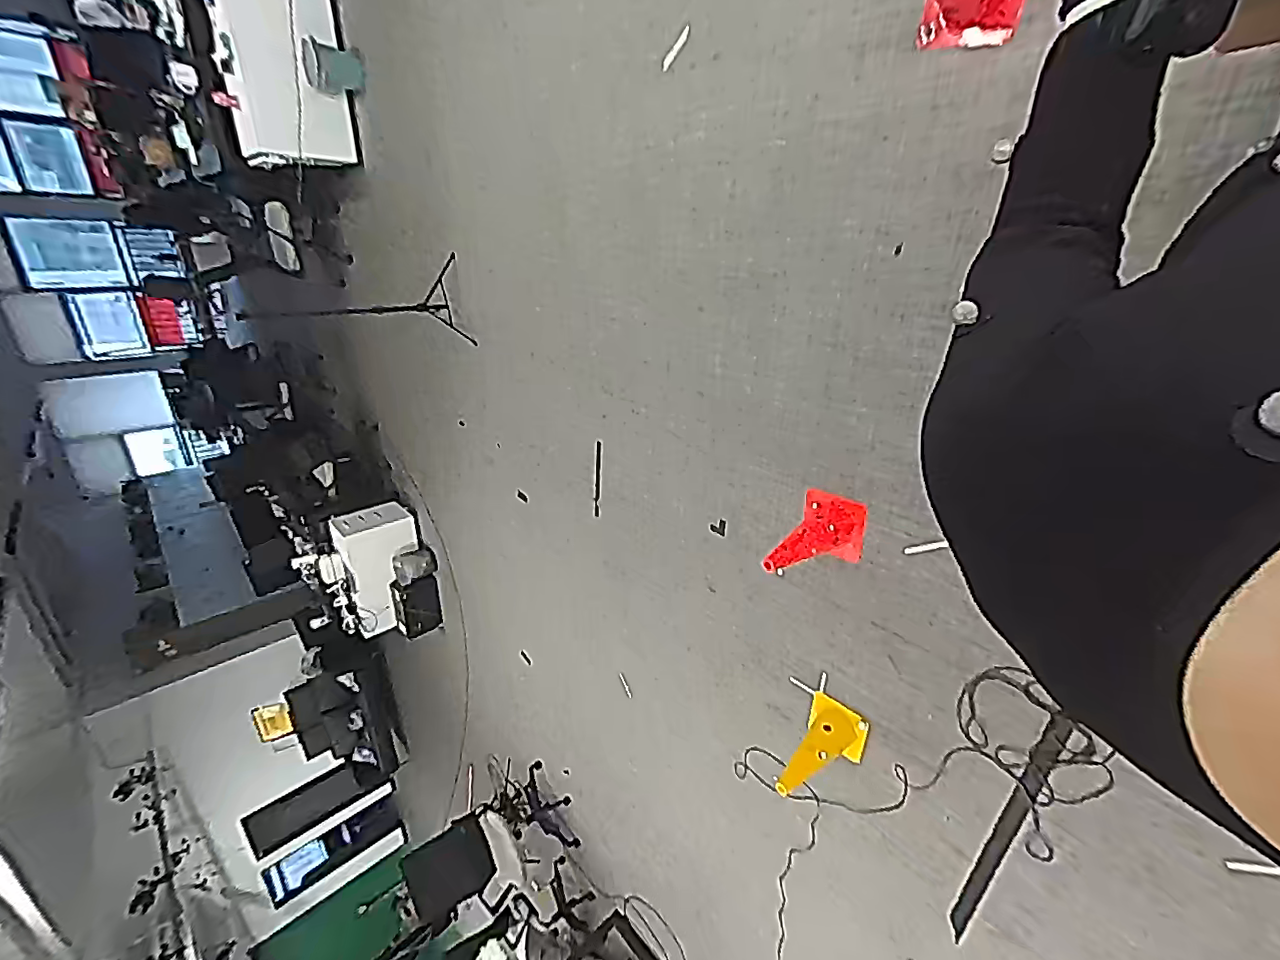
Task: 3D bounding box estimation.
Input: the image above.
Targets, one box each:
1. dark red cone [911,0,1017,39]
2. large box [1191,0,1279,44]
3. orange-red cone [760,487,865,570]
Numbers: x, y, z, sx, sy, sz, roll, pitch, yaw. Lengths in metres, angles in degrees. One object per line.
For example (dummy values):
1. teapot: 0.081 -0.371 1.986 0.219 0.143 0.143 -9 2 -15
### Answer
1. dark red cone: 0.551 -0.966 0.977 0.201 0.394 0.202 31 127 36
2. large box: 0.570 -0.472 0.246 0.408 0.320 0.320 19 124 44
3. orange-red cone: 0.473 0.183 1.582 0.198 0.360 0.199 23 123 43
